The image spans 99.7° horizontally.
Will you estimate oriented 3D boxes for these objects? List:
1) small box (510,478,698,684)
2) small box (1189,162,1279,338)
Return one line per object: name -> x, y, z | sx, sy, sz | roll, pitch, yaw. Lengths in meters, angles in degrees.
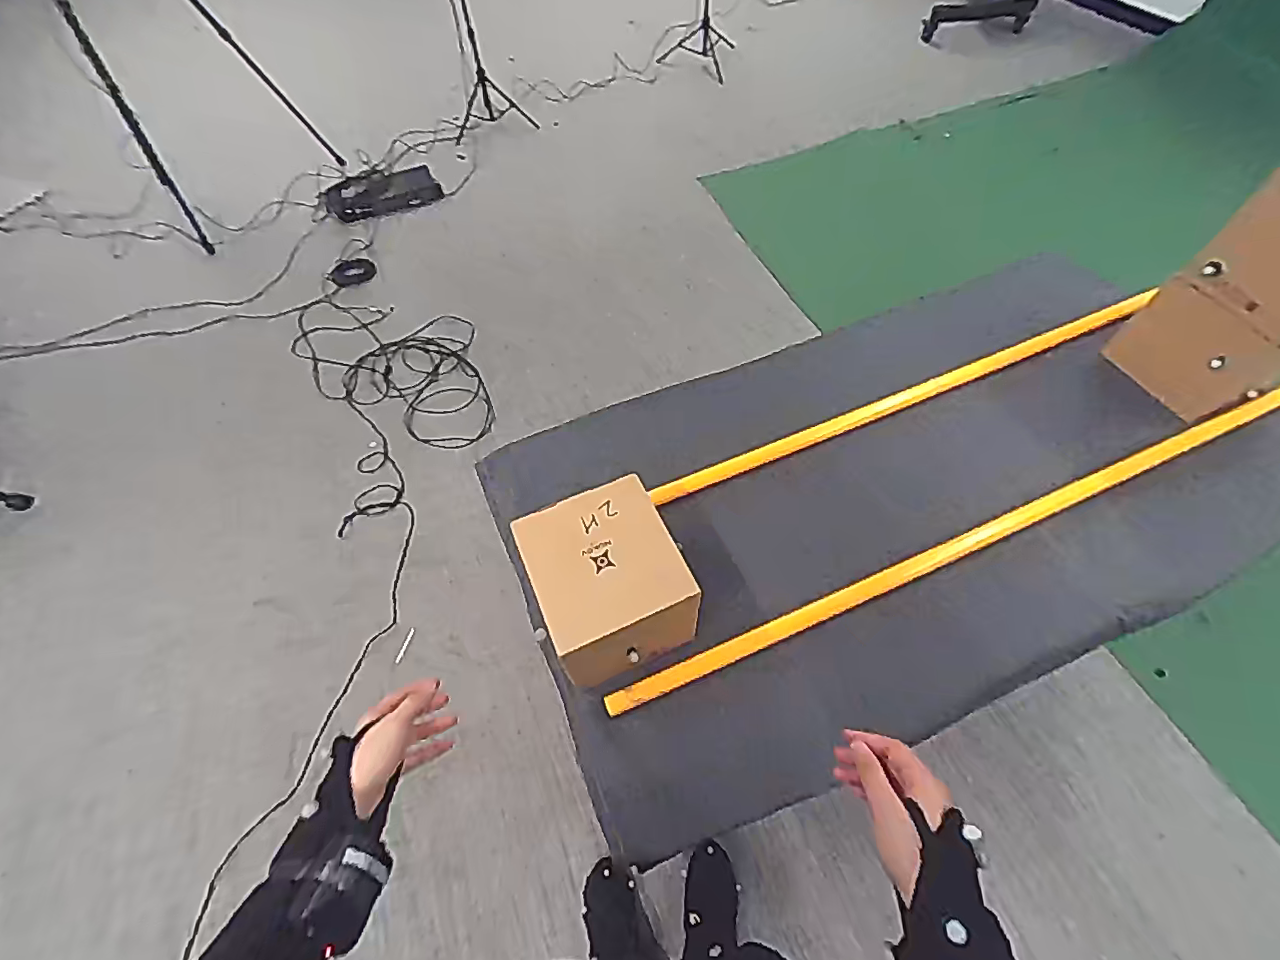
small box -> -0.041, 0.134, 0.671 | 0.168, 0.176, 0.179 | -22, 58, -12
small box -> 0.901, -0.313, 0.712 | 0.179, 0.176, 0.168 | -17, 60, -8
